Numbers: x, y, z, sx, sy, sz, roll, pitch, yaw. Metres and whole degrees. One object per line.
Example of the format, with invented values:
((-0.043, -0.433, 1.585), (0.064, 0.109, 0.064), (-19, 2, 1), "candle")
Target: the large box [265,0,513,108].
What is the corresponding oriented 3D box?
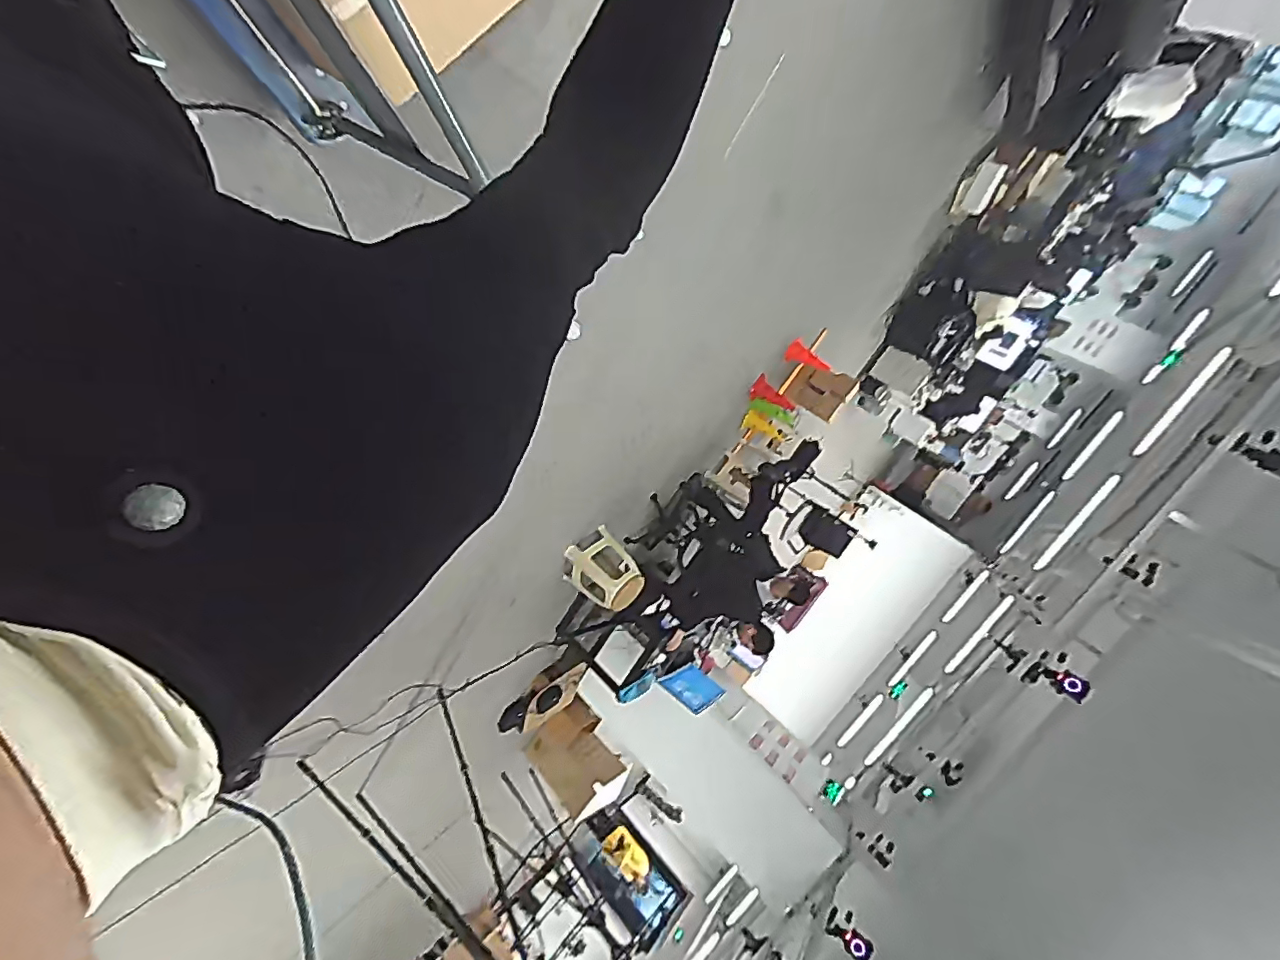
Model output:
((-0.463, -0.952, 0.930), (0.408, 0.320, 0.320), (-48, 155, -8), "large box")
